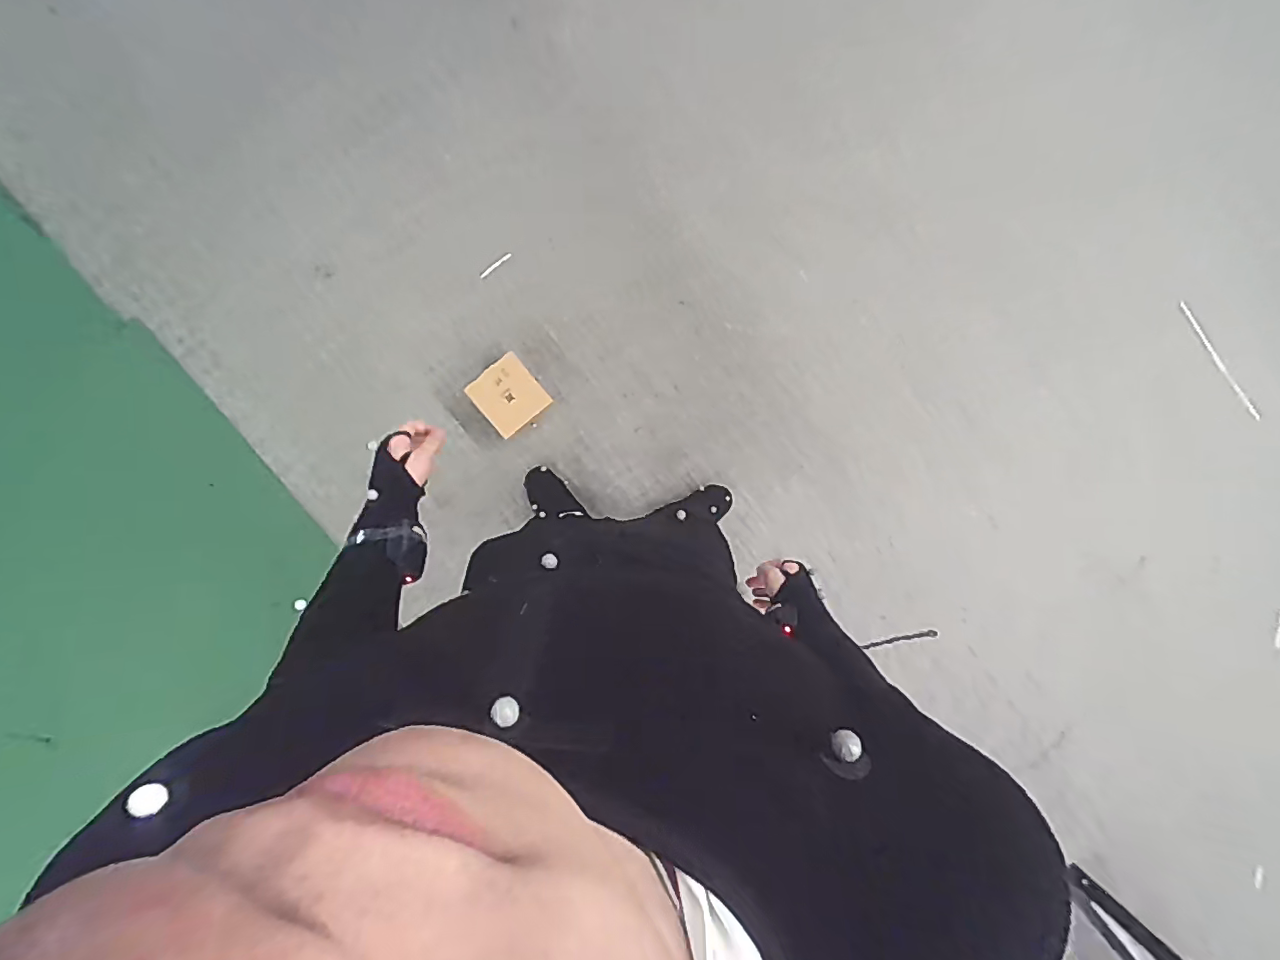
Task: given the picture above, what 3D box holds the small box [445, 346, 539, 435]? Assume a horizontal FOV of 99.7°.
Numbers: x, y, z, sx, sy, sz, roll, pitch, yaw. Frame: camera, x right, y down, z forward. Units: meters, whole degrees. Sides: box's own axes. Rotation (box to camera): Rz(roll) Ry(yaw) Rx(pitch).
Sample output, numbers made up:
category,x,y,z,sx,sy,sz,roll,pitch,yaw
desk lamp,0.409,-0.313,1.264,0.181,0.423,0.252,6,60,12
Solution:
category,x,y,z,sx,sy,sz,roll,pitch,yaw
small box,-0.396,-0.240,1.484,0.168,0.176,0.179,-38,96,-1
